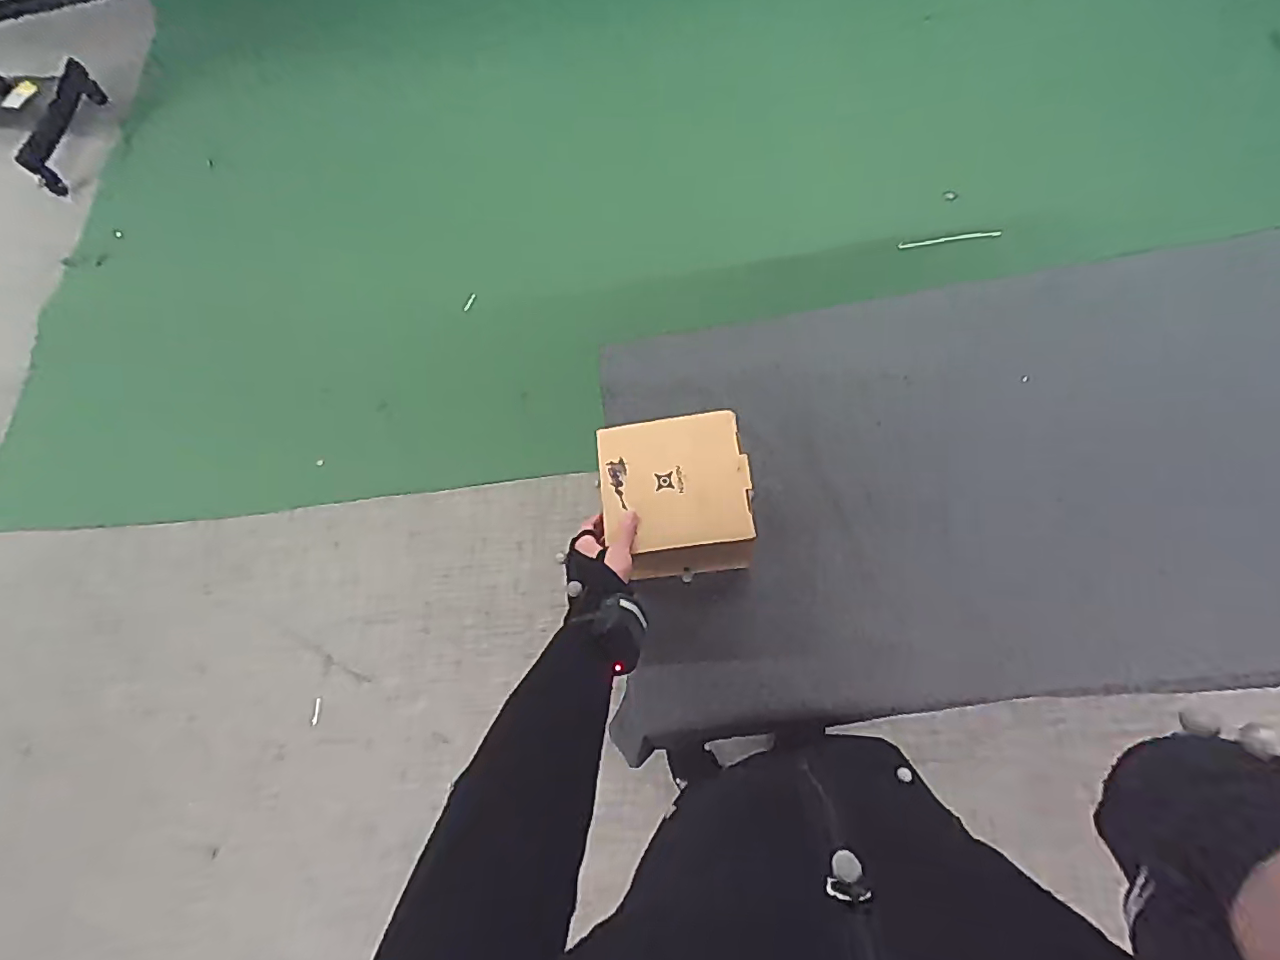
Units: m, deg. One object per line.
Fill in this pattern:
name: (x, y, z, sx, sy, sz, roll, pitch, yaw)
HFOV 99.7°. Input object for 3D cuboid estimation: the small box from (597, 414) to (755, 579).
small box: (0.046, 0.030, 0.715, 0.179, 0.176, 0.168, -7, 69, 5)
